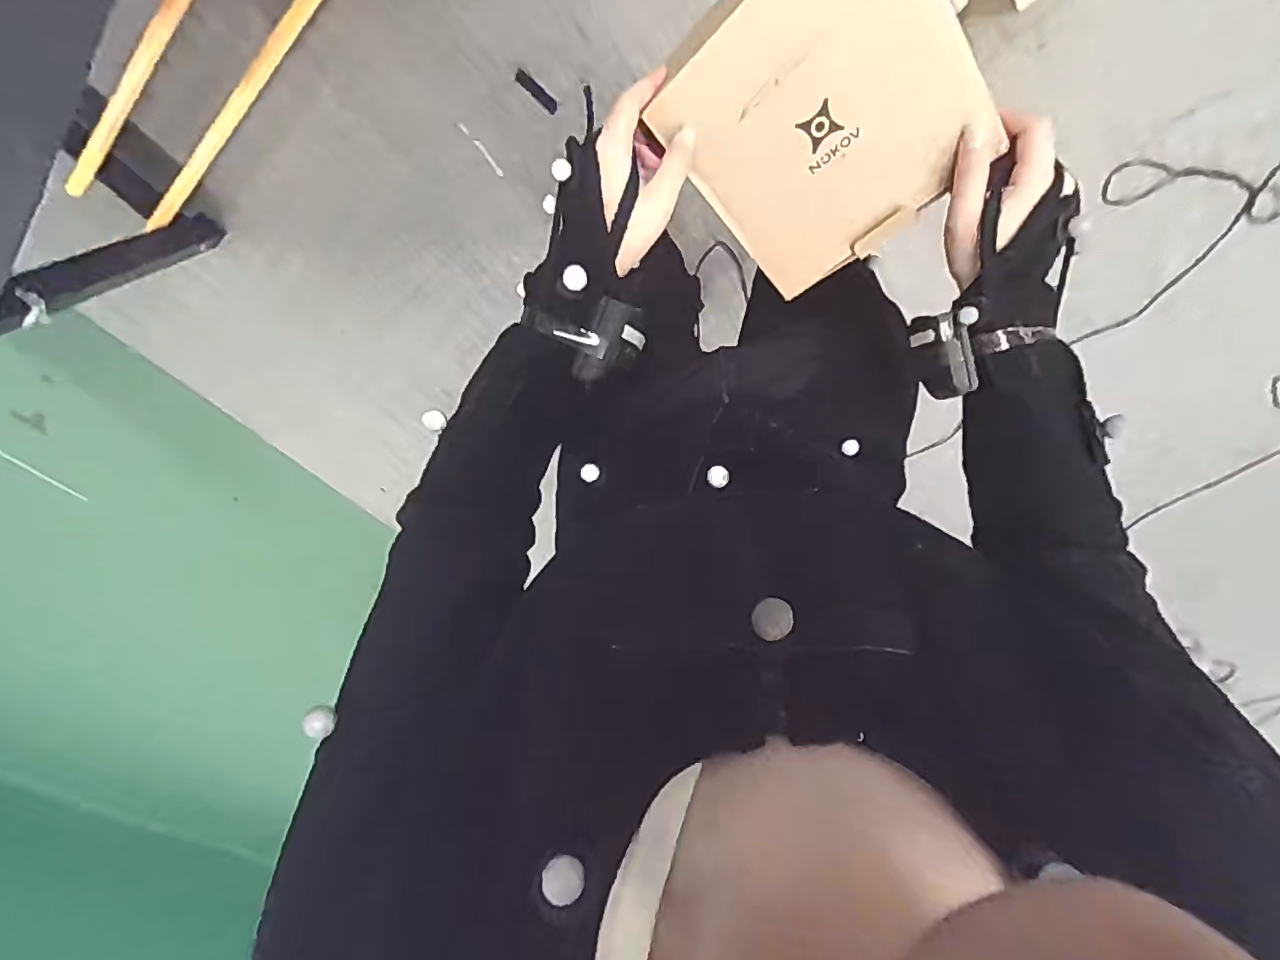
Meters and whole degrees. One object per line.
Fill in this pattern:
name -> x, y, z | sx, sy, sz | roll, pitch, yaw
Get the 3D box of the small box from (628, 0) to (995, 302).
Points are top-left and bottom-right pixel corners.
small box -> 0.117, -0.277, 0.398 | 0.168, 0.176, 0.179 | -32, 123, 34

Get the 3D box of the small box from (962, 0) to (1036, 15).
small box -> 0.548, -0.799, 0.752 | 0.168, 0.176, 0.179 | -29, 122, 22
